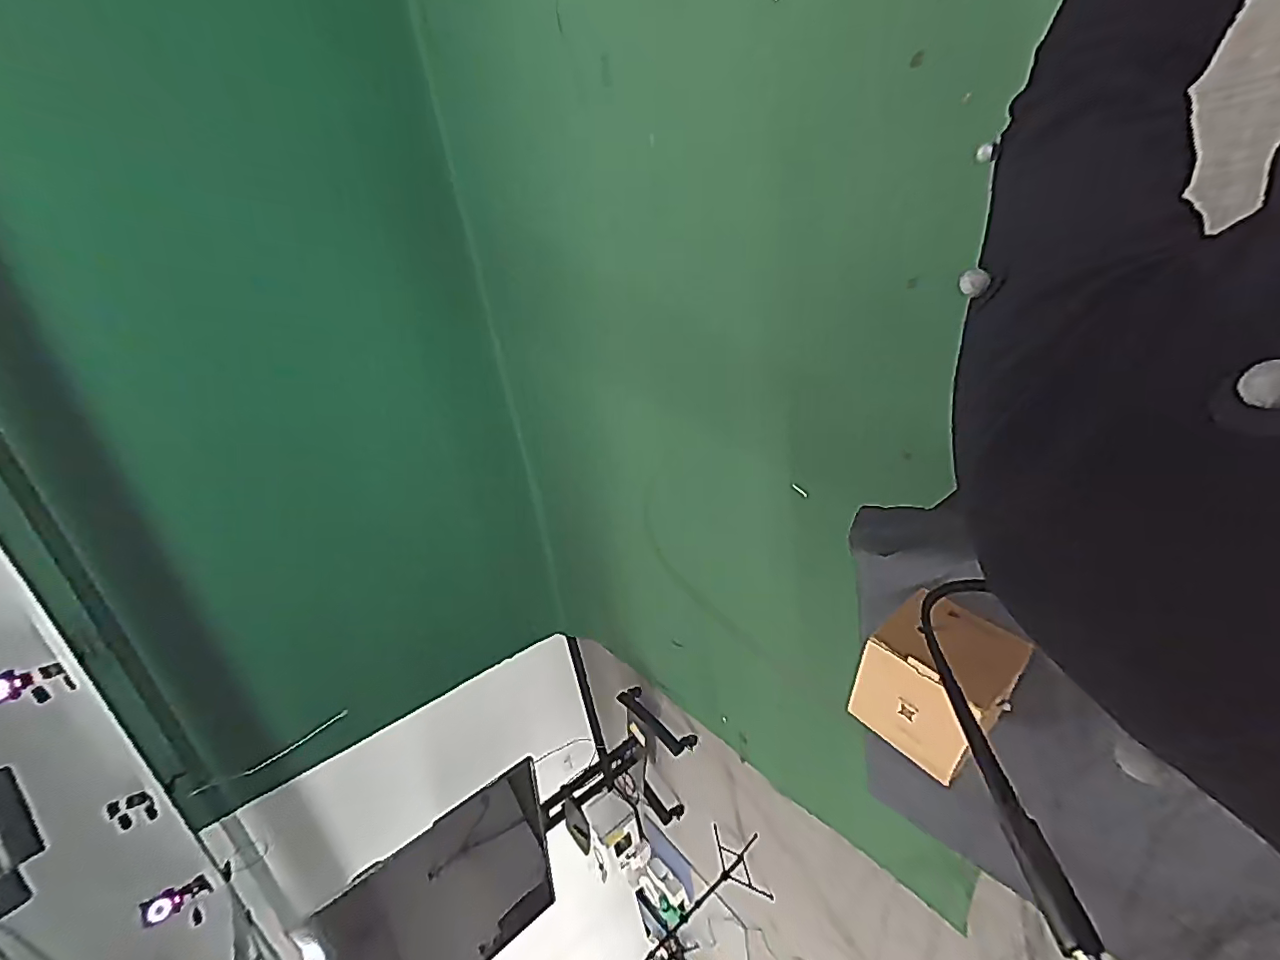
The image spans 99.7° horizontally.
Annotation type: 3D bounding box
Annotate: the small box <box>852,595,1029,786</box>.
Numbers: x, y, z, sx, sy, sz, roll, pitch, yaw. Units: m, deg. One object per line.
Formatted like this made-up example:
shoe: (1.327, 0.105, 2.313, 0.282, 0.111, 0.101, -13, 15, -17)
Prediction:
small box: (0.459, 0.310, 0.830, 0.168, 0.176, 0.179, 32, 137, 44)
